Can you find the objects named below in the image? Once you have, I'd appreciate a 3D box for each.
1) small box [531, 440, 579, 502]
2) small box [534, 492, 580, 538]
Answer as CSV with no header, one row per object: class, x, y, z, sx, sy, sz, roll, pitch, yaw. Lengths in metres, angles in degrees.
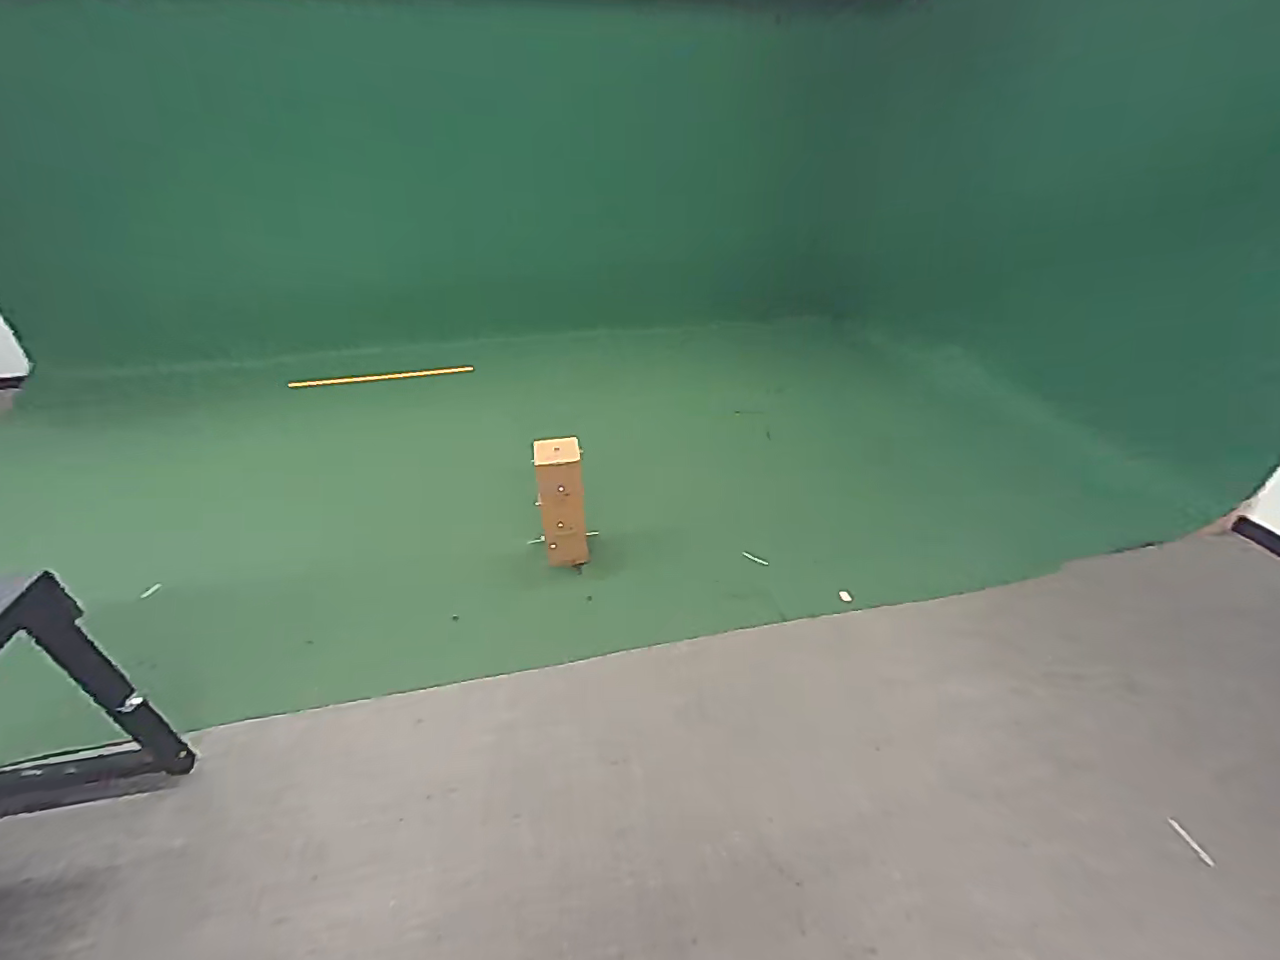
small box,-0.323,-0.035,2.047,0.168,0.176,0.179,-6,34,-9
small box,-0.330,0.106,2.133,0.168,0.176,0.179,-6,34,-11
